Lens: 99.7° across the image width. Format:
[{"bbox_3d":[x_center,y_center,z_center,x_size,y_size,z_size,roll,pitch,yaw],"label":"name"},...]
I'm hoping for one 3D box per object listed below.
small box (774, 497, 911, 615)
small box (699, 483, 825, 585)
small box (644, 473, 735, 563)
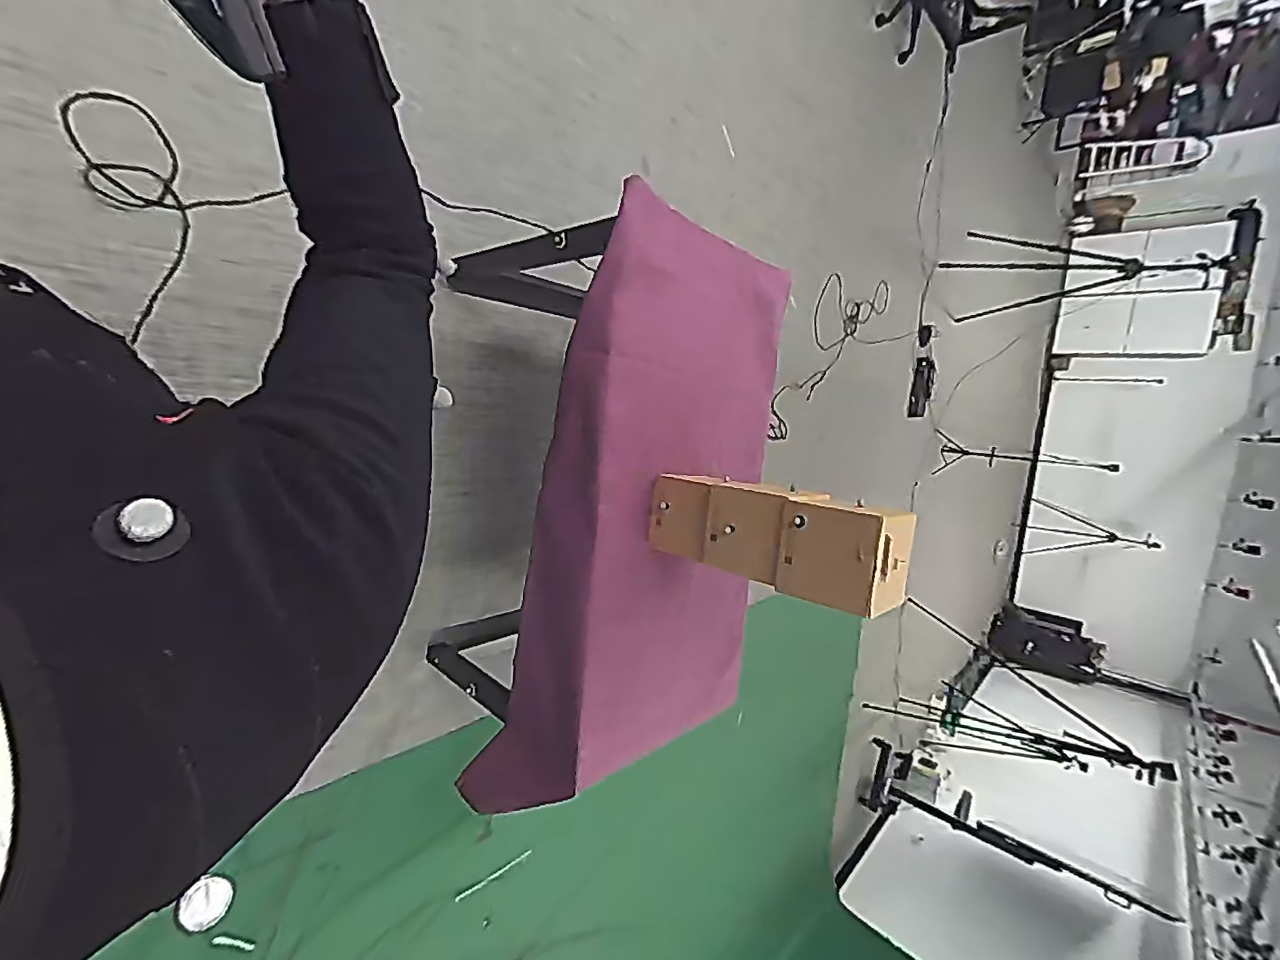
[{"bbox_3d":[0.354,0.124,0.954,0.179,0.176,0.168,2,97,-48],"label":"small box"},{"bbox_3d":[0.242,0.097,1.071,0.179,0.176,0.168,1,97,-47],"label":"small box"},{"bbox_3d":[0.134,0.078,1.193,0.179,0.176,0.168,3,96,-47],"label":"small box"}]
